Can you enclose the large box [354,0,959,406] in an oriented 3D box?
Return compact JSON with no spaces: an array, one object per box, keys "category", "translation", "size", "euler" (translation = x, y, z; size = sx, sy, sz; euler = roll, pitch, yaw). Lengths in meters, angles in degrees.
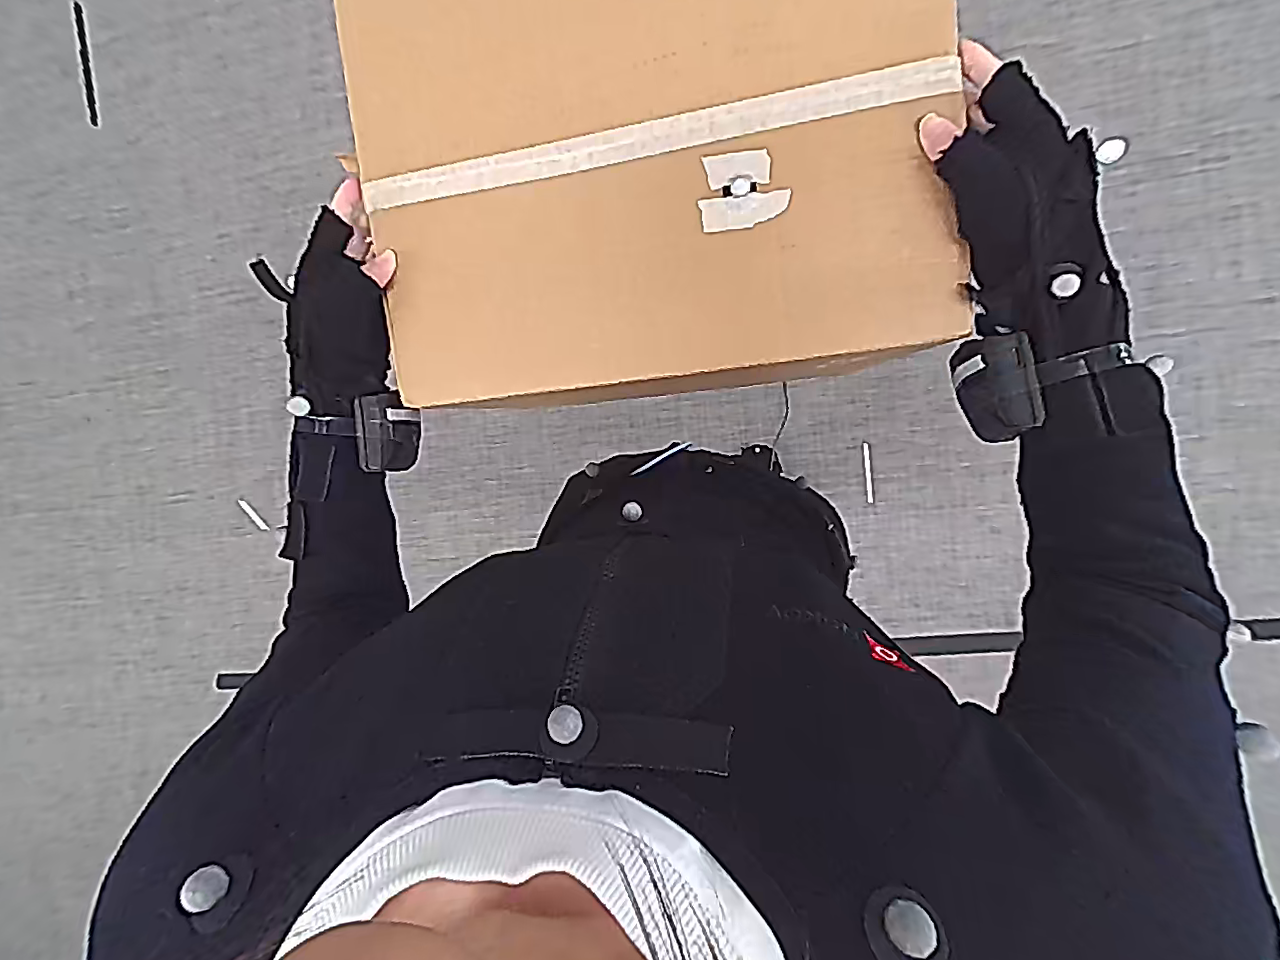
[{"category":"large box","translation":[0.022,-0.252,0.525],"size":[0.408,0.320,0.320],"euler":[-6,97,9]}]
